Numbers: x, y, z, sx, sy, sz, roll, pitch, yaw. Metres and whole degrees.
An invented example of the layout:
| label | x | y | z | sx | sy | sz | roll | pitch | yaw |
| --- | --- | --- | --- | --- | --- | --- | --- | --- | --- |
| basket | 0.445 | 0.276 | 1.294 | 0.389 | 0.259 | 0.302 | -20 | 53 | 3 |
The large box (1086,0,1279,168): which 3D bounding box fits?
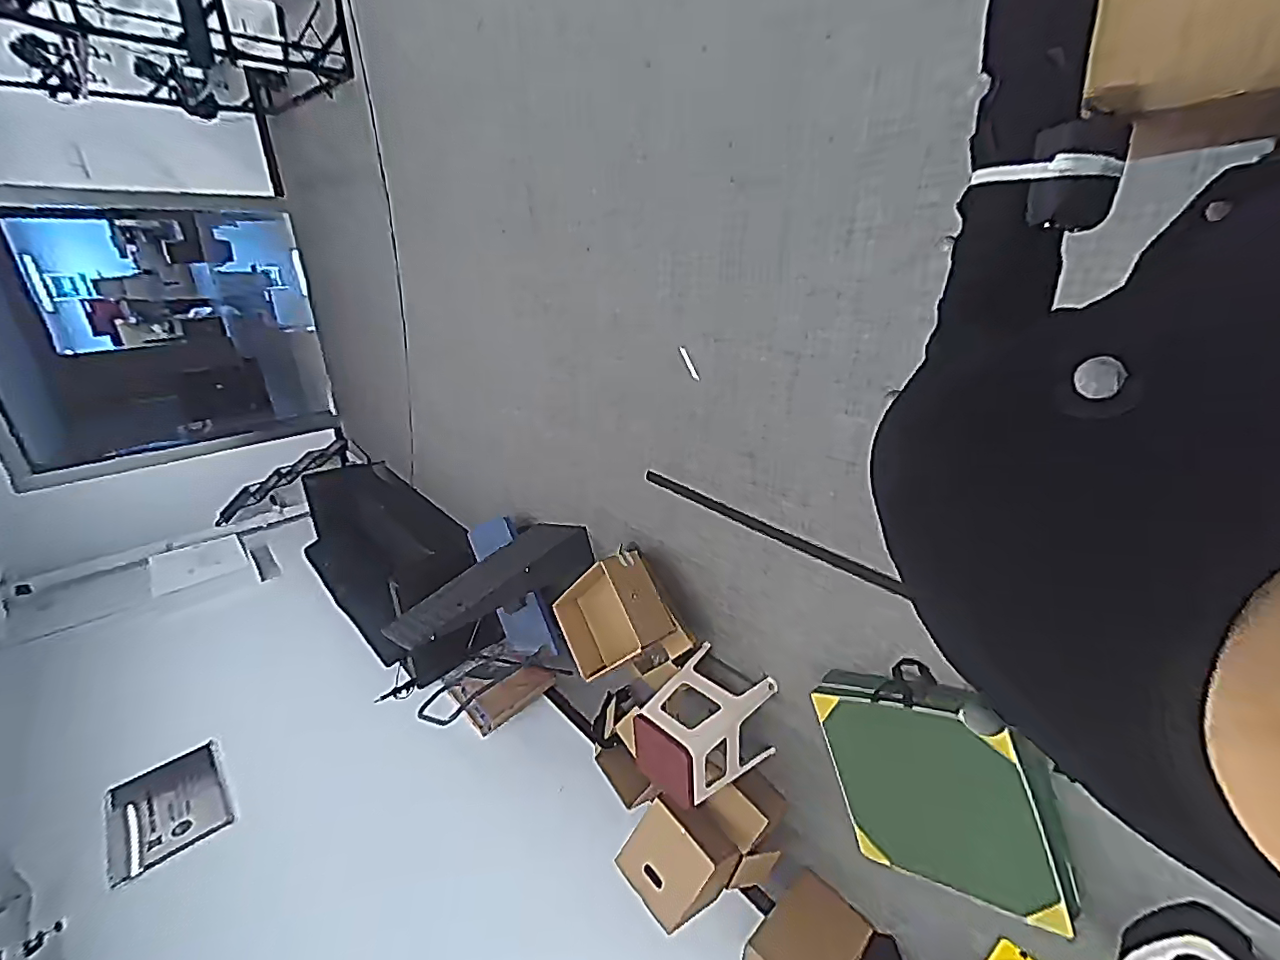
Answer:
| label | x | y | z | sx | sy | sz | roll | pitch | yaw |
| --- | --- | --- | --- | --- | --- | --- | --- | --- | --- |
| large box | 0.538 | -0.404 | 0.303 | 0.408 | 0.320 | 0.320 | 12 | 116 | 41 |
